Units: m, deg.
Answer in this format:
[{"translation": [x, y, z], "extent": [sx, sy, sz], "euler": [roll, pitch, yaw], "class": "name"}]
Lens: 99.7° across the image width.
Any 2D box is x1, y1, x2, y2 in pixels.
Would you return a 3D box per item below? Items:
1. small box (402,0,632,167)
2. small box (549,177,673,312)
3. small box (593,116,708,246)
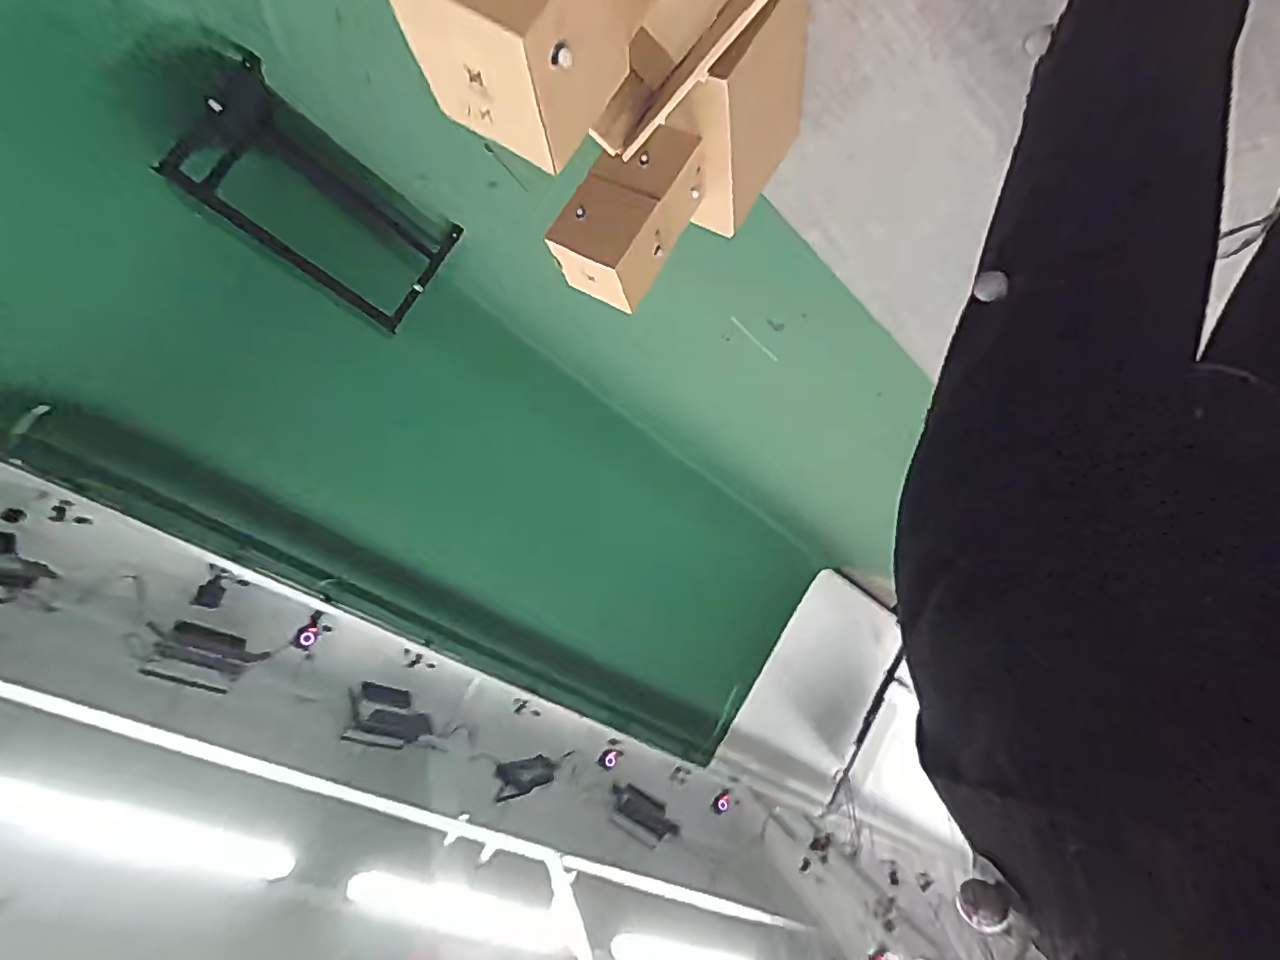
[{"translation": [-0.120, -0.491, 0.572], "extent": [0.168, 0.176, 0.179], "euler": [32, 174, 6], "class": "small box"}, {"translation": [-0.054, -0.493, 1.129], "extent": [0.179, 0.176, 0.168], "euler": [30, 173, 16], "class": "small box"}, {"translation": [0.028, -0.632, 1.155], "extent": [0.179, 0.176, 0.168], "euler": [30, 173, 13], "class": "small box"}]
